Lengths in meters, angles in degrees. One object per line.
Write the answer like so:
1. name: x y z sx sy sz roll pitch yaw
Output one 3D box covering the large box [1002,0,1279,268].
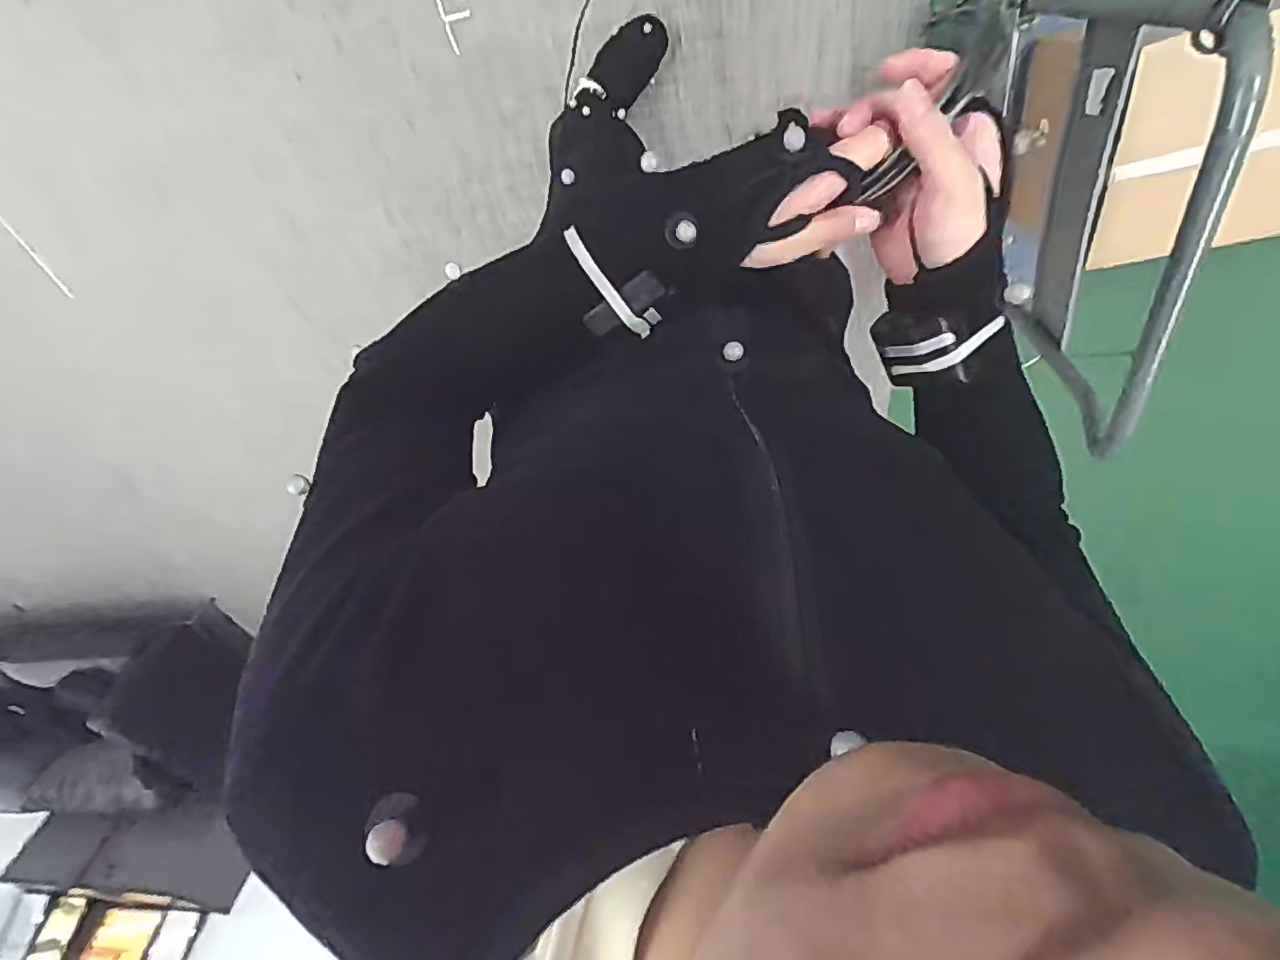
1. large box: 0.904 -0.601 0.905 0.408 0.320 0.320 -8 130 13
